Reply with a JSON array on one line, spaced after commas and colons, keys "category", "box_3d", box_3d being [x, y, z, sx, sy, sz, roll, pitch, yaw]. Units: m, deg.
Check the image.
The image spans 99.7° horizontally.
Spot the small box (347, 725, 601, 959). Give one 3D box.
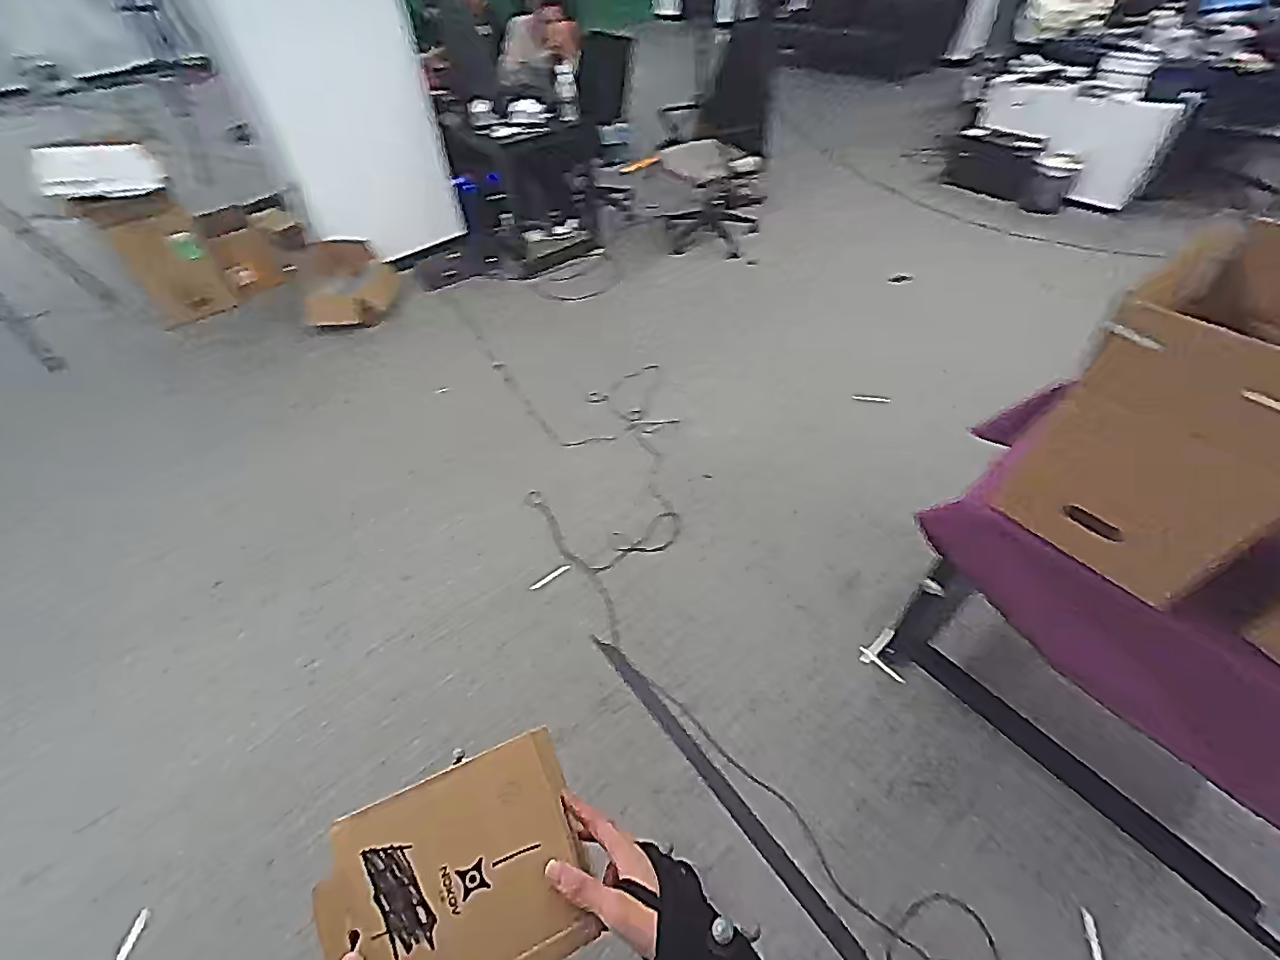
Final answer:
[{"category": "small box", "box_3d": [-0.144, 0.352, 0.518, 0.179, 0.176, 0.168, -19, 71, -13]}]
